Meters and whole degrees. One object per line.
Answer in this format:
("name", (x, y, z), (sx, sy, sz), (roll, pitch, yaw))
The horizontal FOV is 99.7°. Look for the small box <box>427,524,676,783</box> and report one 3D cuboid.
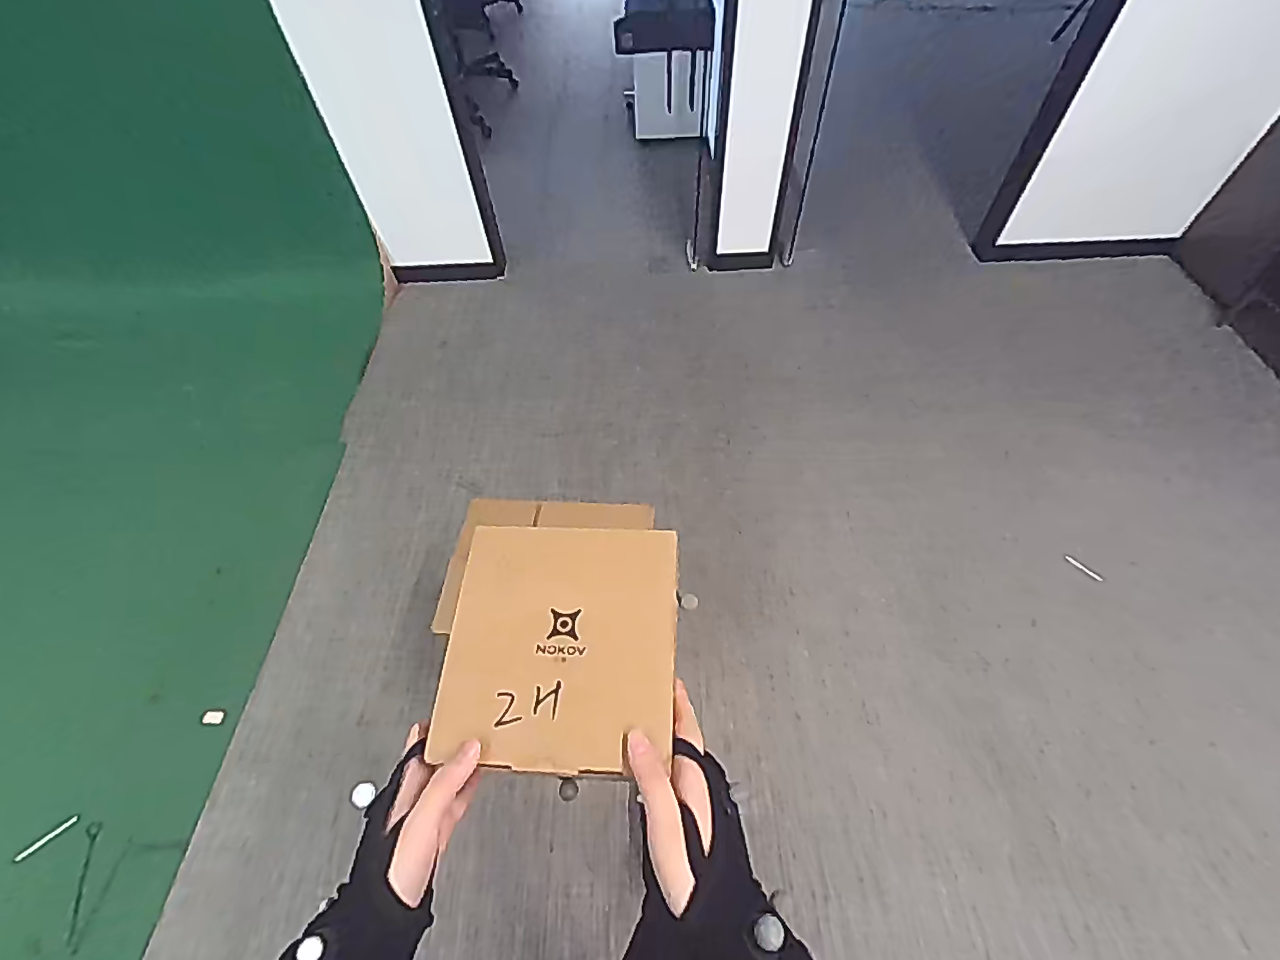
("small box", (-0.054, 0.154, 0.469), (0.168, 0.176, 0.179), (1, 59, 5))
